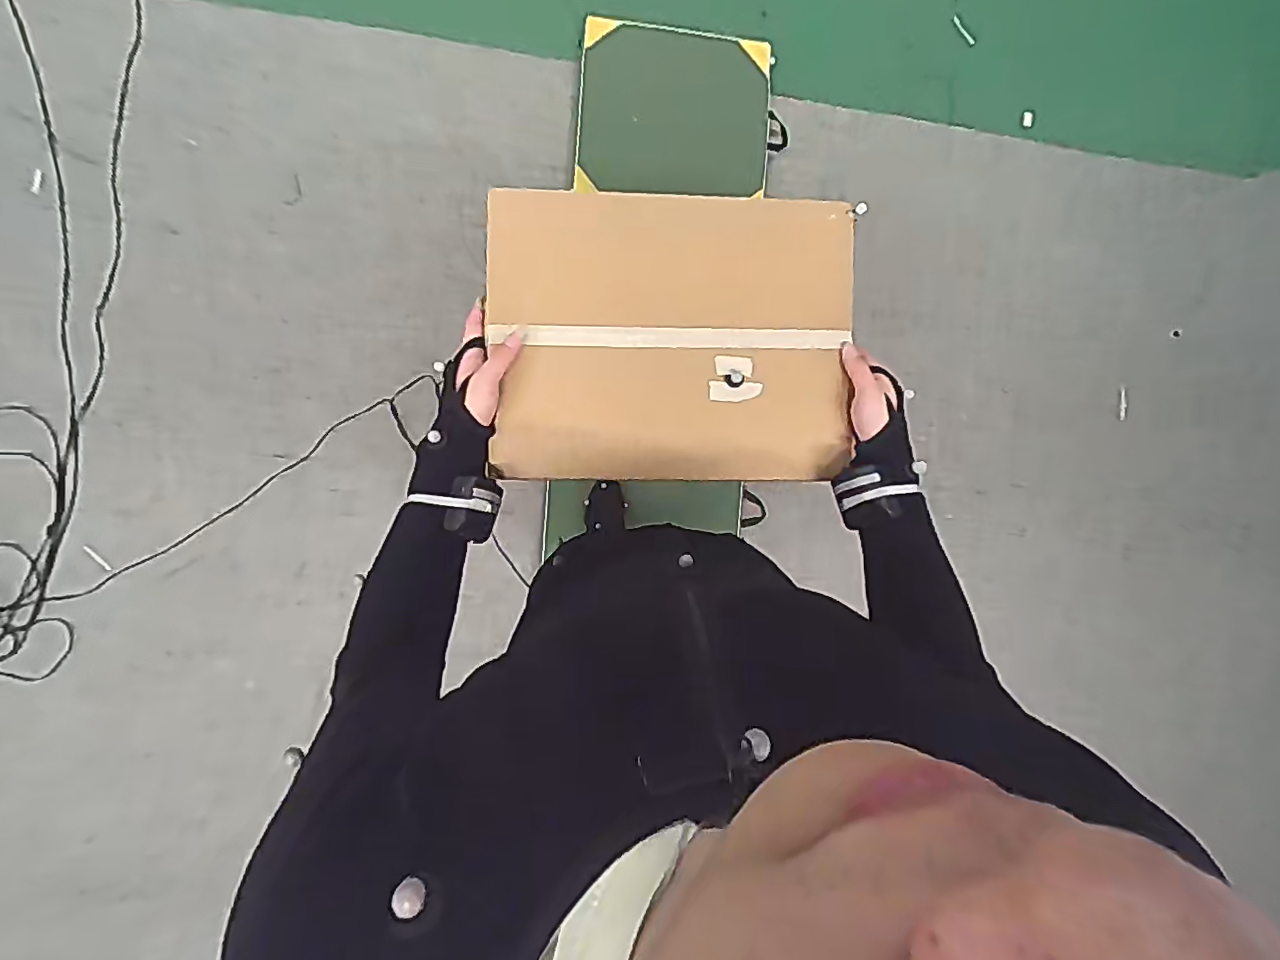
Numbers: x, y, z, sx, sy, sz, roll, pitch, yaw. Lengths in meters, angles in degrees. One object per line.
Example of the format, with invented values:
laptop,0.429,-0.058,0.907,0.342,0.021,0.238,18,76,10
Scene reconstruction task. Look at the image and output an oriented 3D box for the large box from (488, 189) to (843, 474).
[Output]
large box,0.021,-0.168,0.753,0.408,0.320,0.320,0,92,-5
